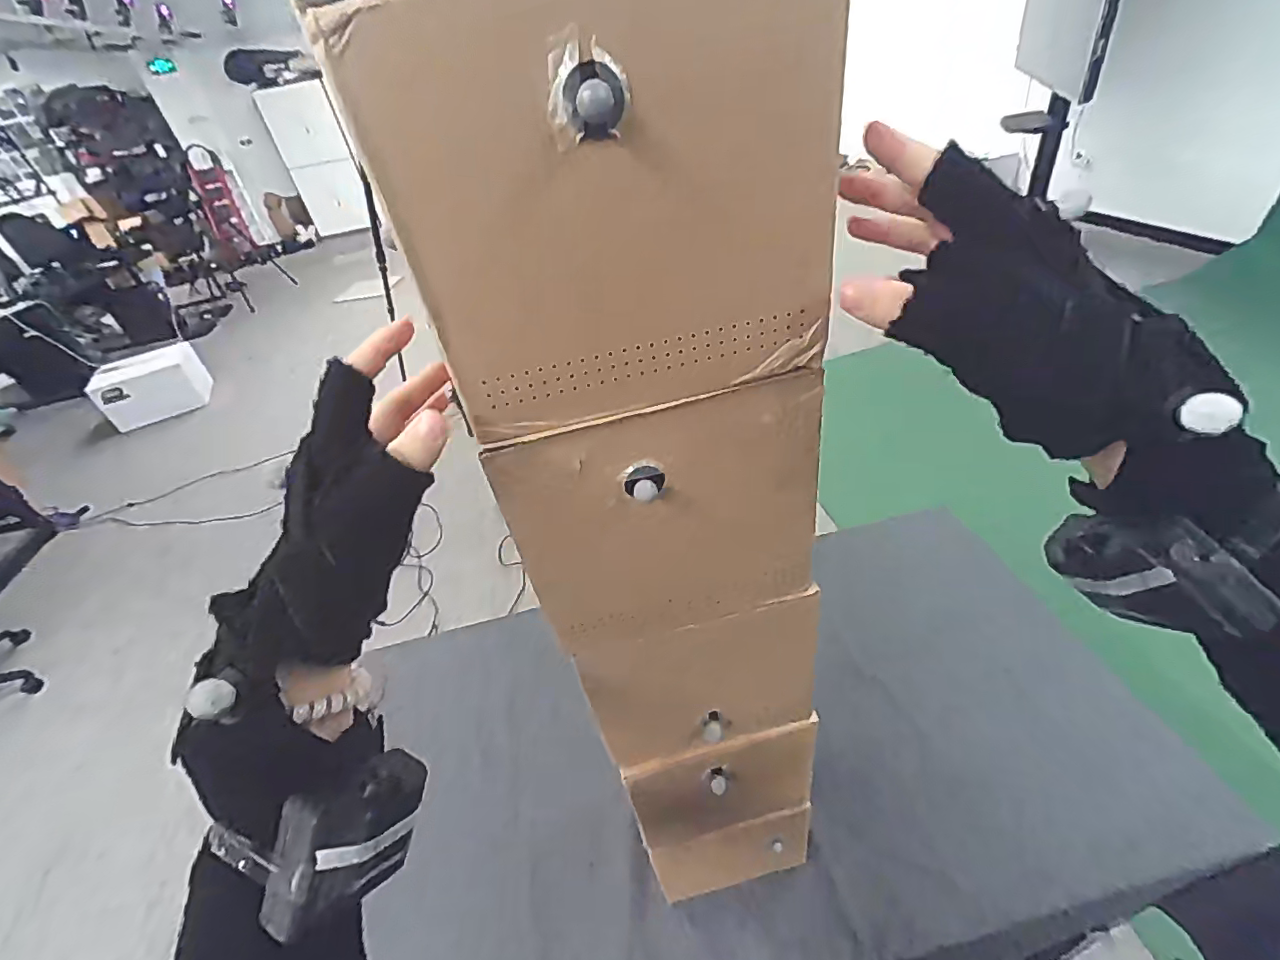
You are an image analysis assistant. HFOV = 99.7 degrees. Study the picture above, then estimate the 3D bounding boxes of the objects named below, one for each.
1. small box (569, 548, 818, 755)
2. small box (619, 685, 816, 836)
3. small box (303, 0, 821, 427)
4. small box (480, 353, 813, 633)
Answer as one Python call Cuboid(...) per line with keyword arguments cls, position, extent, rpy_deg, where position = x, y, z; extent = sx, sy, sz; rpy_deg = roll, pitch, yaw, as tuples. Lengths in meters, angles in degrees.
Cuboid(cls="small box", position=(0.036, 0.109, 0.475), extent=(0.179, 0.176, 0.168), rpy_deg=(-12, 37, -2))
Cuboid(cls="small box", position=(0.065, 0.239, 0.571), extent=(0.179, 0.176, 0.168), rpy_deg=(-14, 38, -4))
Cuboid(cls="small box", position=(-0.018, -0.146, 0.277), extent=(0.179, 0.176, 0.168), rpy_deg=(-13, 39, -1))
Cuboid(cls="small box", position=(0.004, -0.019, 0.378), extent=(0.179, 0.176, 0.168), rpy_deg=(-14, 38, -4))
